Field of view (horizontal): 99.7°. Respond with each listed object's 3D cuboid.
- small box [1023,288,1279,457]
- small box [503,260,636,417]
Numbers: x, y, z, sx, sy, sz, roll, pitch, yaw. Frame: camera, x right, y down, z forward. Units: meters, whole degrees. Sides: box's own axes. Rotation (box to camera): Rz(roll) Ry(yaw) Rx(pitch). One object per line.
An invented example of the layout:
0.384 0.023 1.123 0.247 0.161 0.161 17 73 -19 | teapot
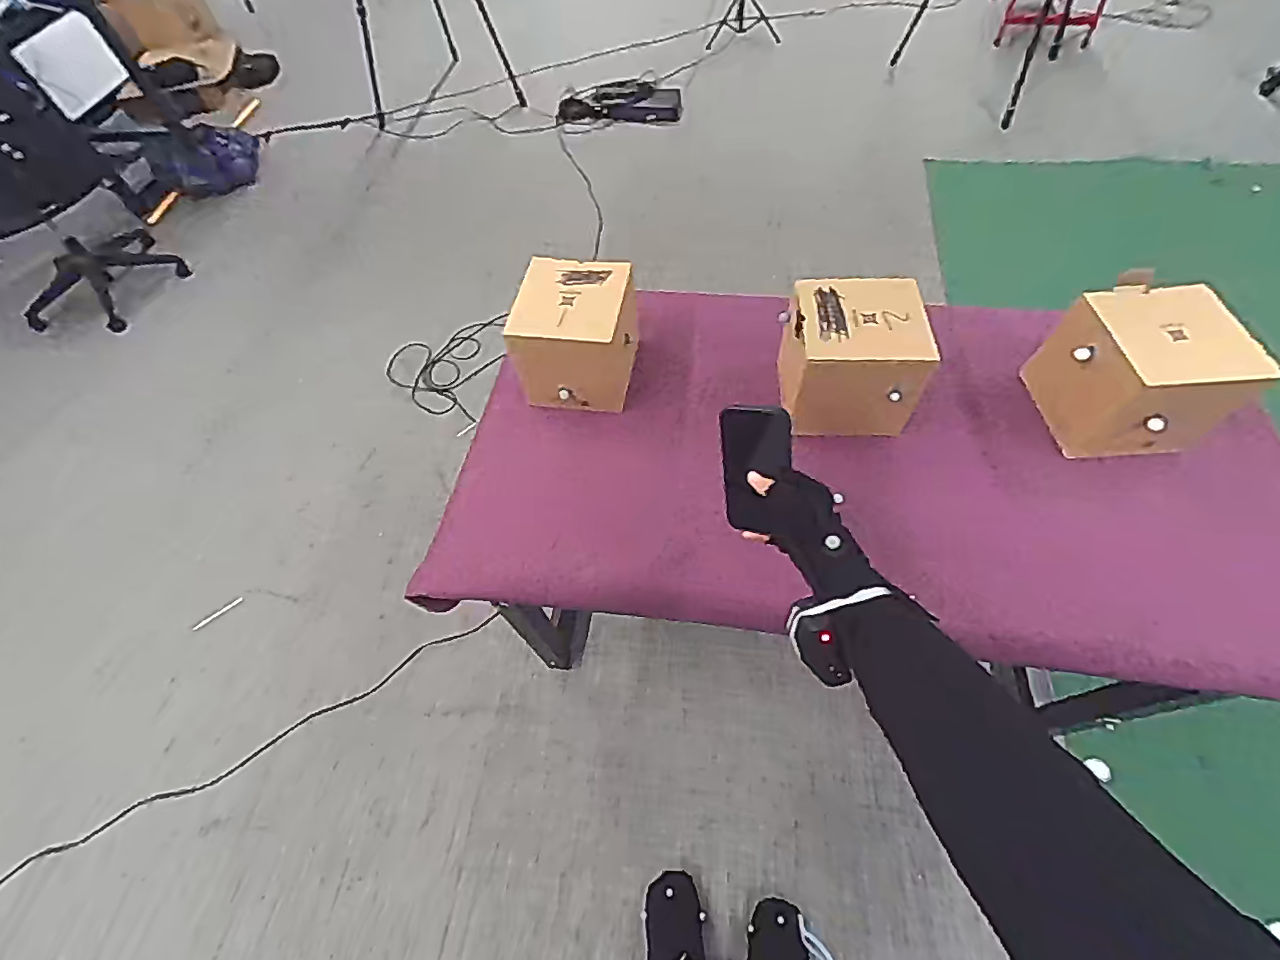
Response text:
0.701 -0.143 0.772 0.168 0.176 0.179 -4 57 3 | small box
-0.101 -0.229 0.884 0.168 0.176 0.179 6 60 8 | small box
